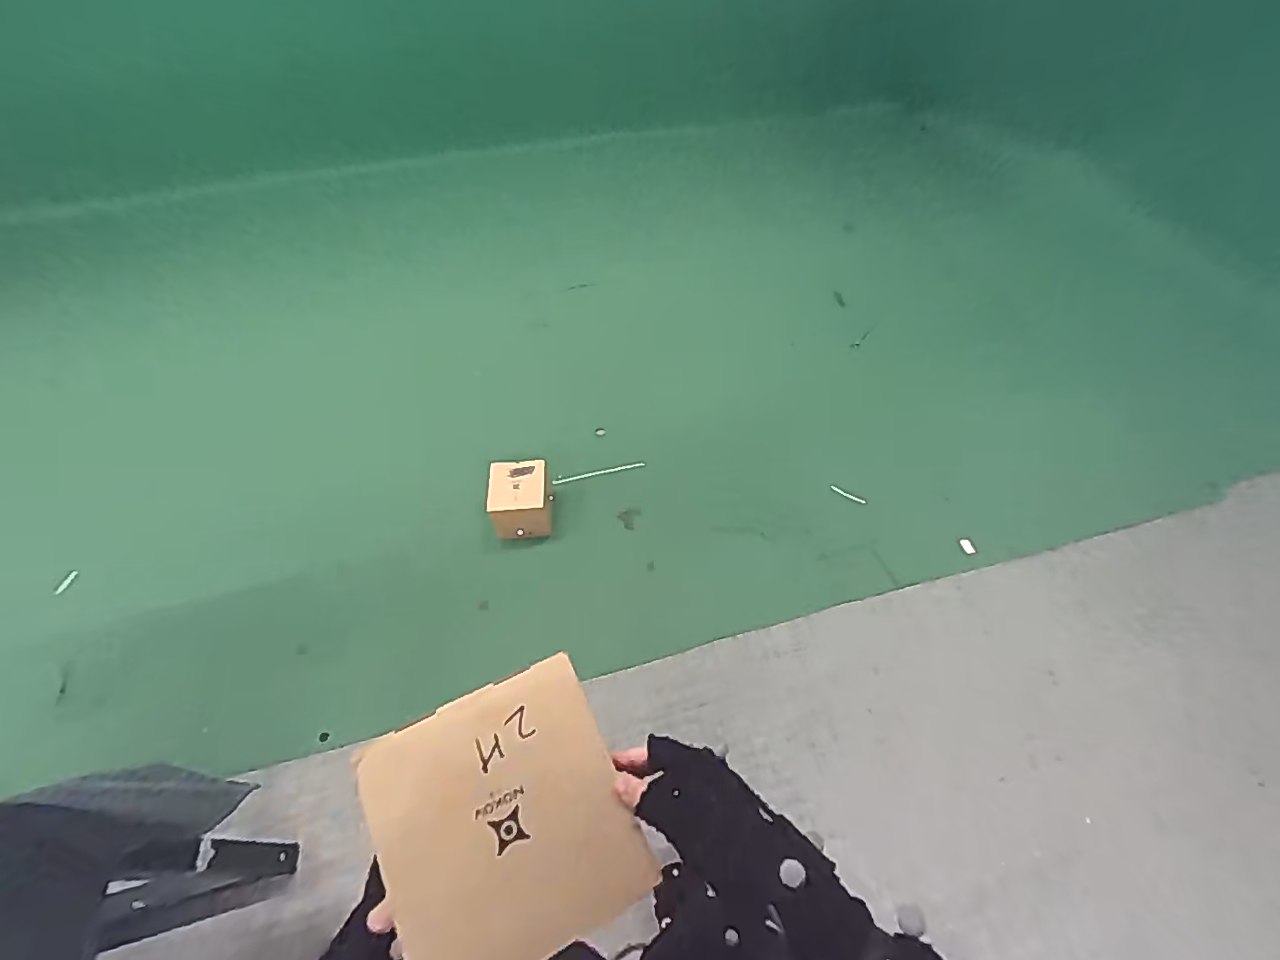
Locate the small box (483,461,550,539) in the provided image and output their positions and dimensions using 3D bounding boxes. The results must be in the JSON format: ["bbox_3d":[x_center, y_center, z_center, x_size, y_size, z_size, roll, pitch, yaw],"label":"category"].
[{"bbox_3d":[-0.371,0.063,1.651,0.168,0.176,0.179,-4,55,-2],"label":"small box"}]
